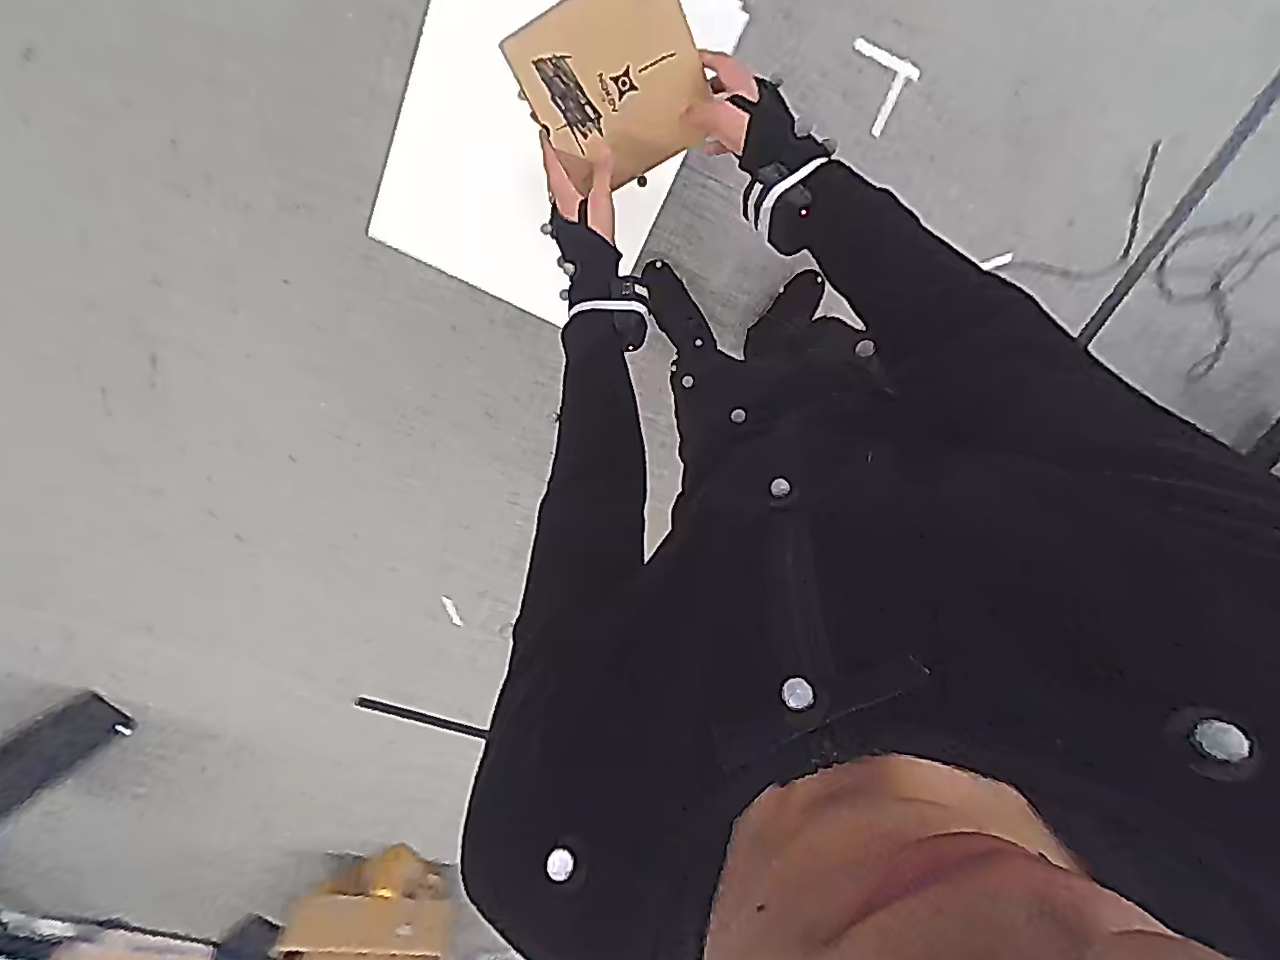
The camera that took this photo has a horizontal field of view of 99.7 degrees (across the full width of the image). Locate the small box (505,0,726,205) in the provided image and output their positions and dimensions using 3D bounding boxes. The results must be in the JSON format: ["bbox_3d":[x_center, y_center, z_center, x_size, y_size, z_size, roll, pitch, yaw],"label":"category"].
[{"bbox_3d":[-0.025,-0.439,0.614,0.179,0.176,0.168,-25,120,10],"label":"small box"}]
